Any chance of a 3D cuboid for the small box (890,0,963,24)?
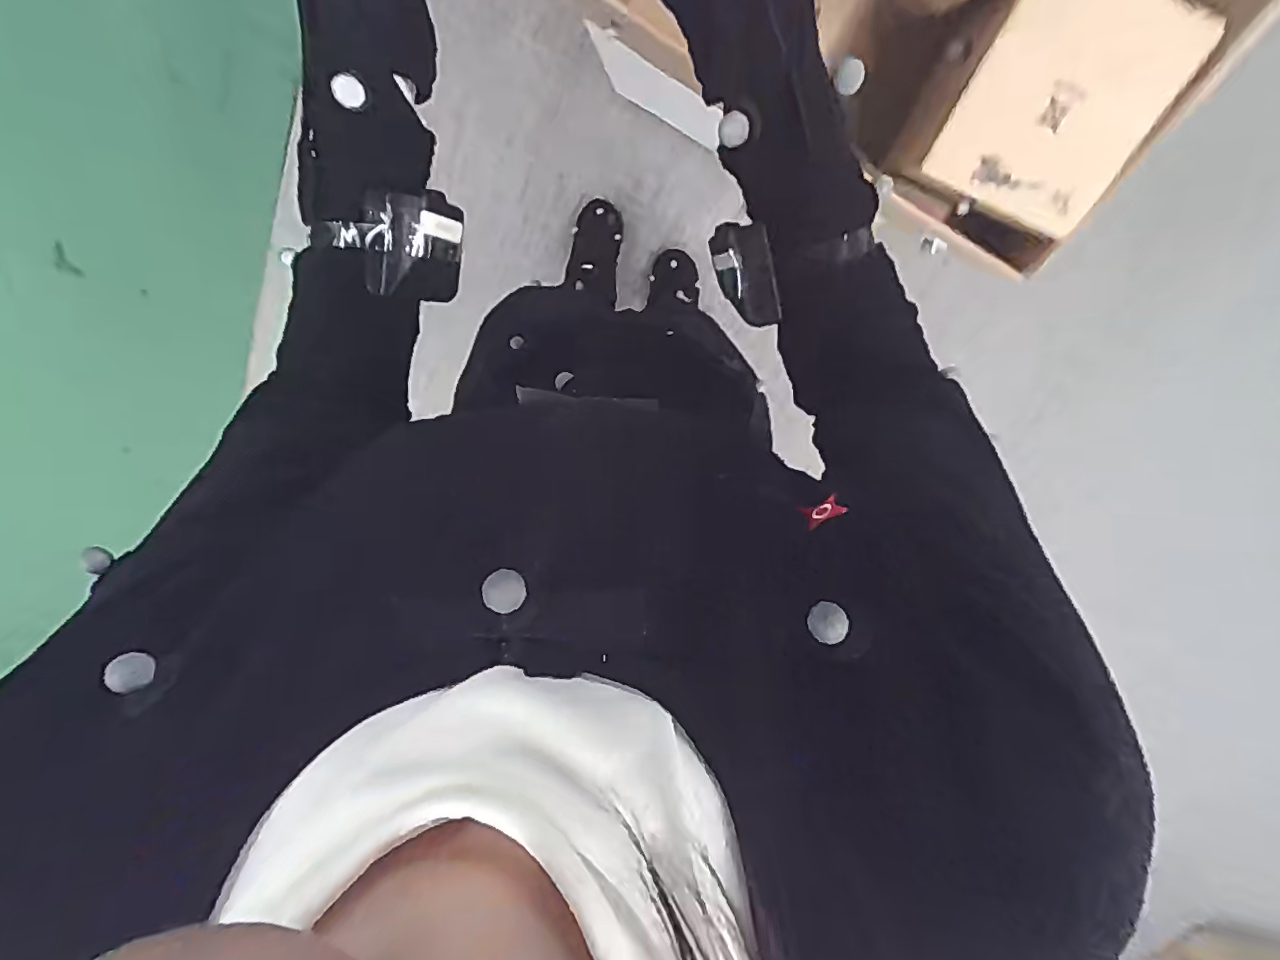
[{"bbox_3d":[0.293,-0.543,0.454,0.179,0.176,0.168,-35,110,26],"label":"small box"}]
